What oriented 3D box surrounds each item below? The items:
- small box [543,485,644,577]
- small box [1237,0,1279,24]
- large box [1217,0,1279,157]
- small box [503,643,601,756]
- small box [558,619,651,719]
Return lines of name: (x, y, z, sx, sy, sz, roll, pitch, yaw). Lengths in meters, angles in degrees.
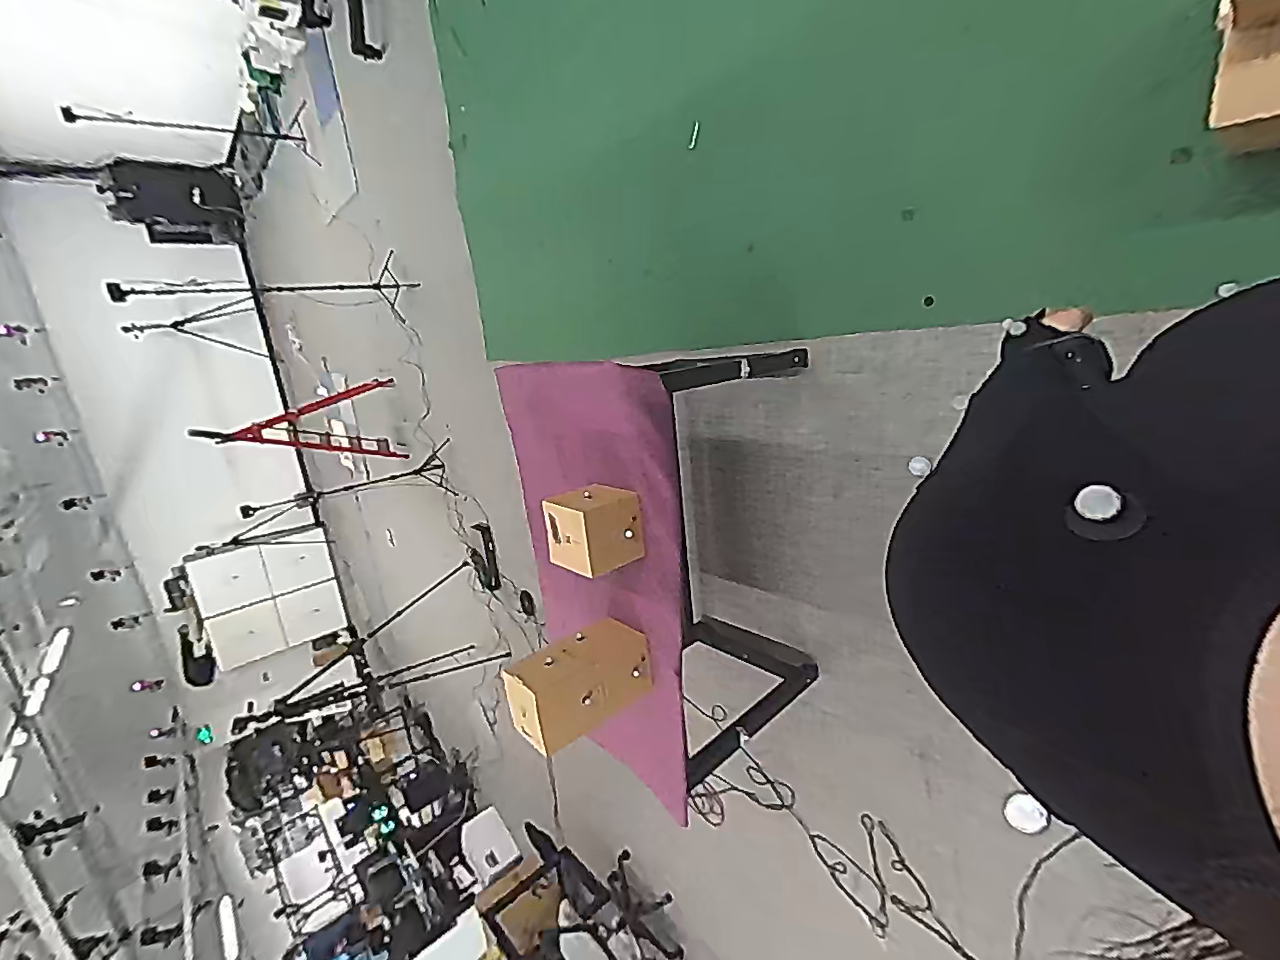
small box: (-0.112, 0.115, 1.324, 0.179, 0.176, 0.168, 11, 112, 48)
small box: (0.799, -0.666, 0.602, 0.168, 0.176, 0.179, 12, 113, 47)
large box: (1.055, -0.659, 0.689, 0.408, 0.320, 0.320, 12, 113, 47)
small box: (-0.216, 0.532, 1.341, 0.168, 0.176, 0.179, 9, 110, 51)
small box: (-0.093, 0.492, 1.442, 0.179, 0.176, 0.168, 9, 111, 50)
